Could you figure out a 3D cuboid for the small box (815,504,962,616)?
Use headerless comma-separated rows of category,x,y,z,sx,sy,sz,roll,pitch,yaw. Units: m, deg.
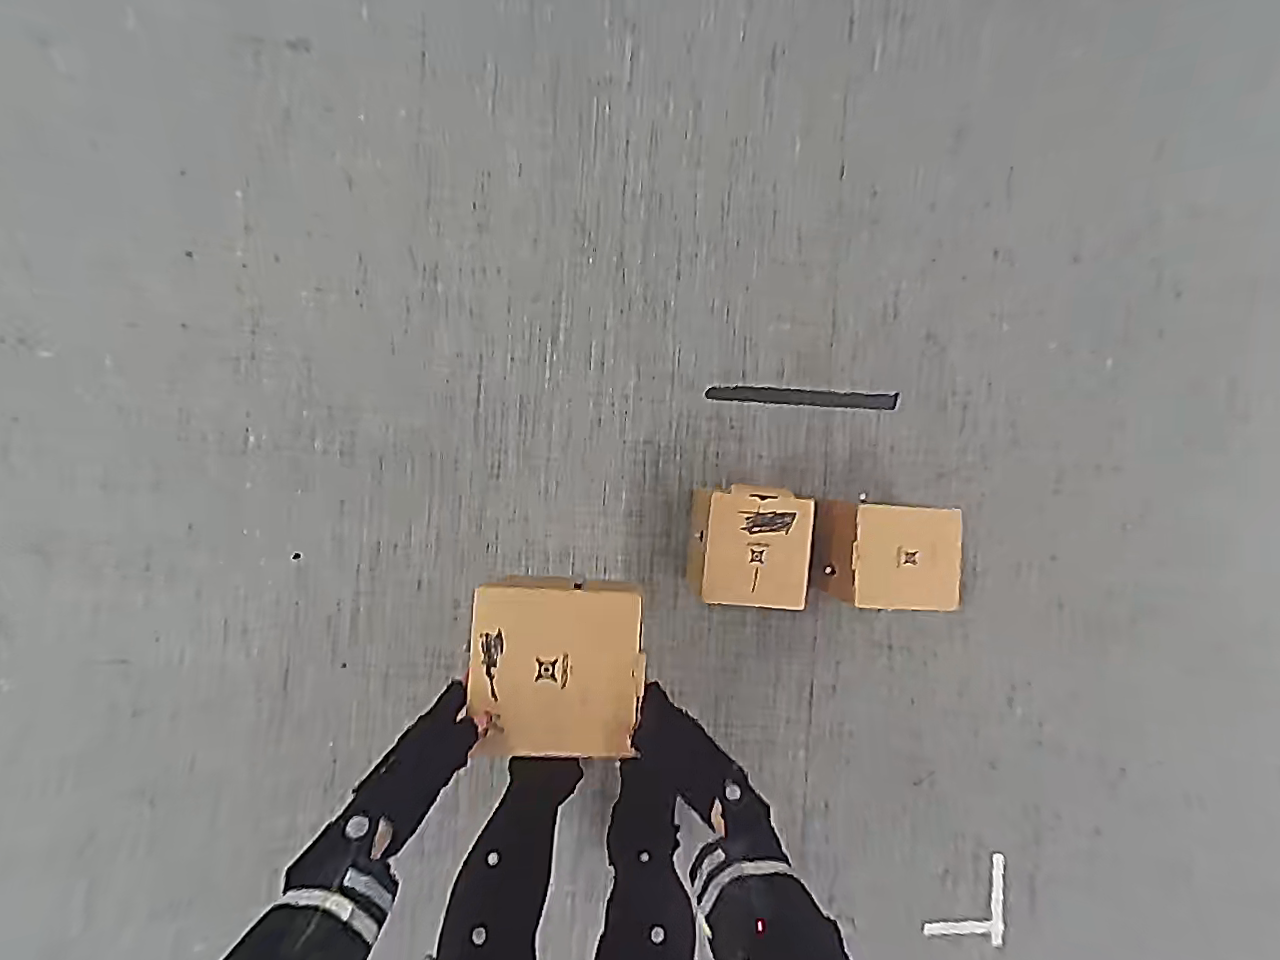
small box,0.416,0.131,0.931,0.179,0.176,0.168,2,91,-4

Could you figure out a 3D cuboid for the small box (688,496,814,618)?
small box,0.178,0.121,0.916,0.168,0.176,0.179,5,90,-3

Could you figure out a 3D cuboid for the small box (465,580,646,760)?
small box,-0.091,0.208,0.633,0.179,0.176,0.168,3,83,-3
